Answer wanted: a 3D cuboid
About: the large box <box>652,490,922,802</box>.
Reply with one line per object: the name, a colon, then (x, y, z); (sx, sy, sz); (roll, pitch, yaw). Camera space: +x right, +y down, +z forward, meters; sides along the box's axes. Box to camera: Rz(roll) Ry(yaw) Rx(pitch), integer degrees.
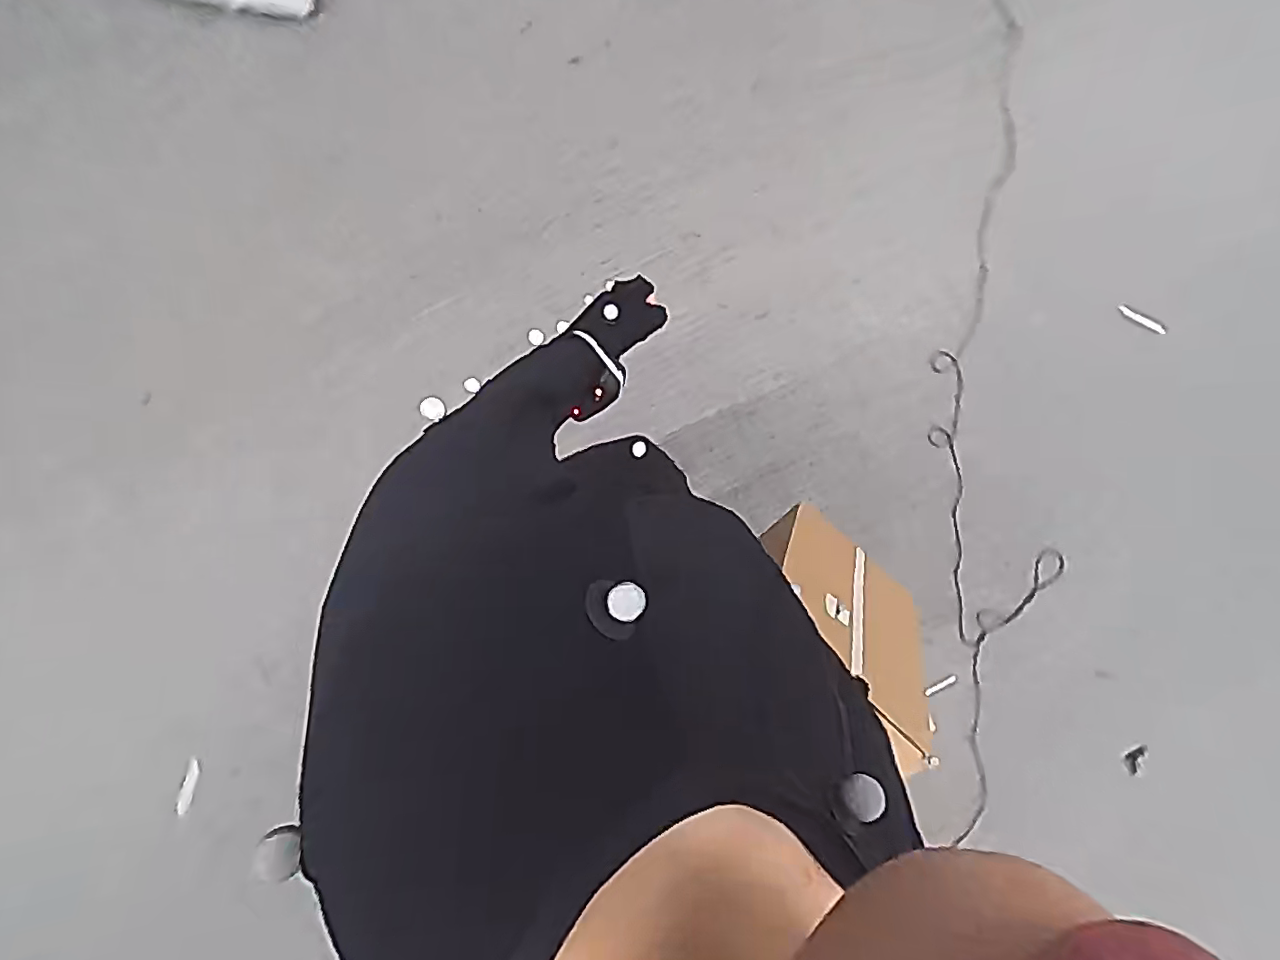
large box: (0.279, 0.294, 1.023); (0.320, 0.408, 0.320); (40, 124, 0)
